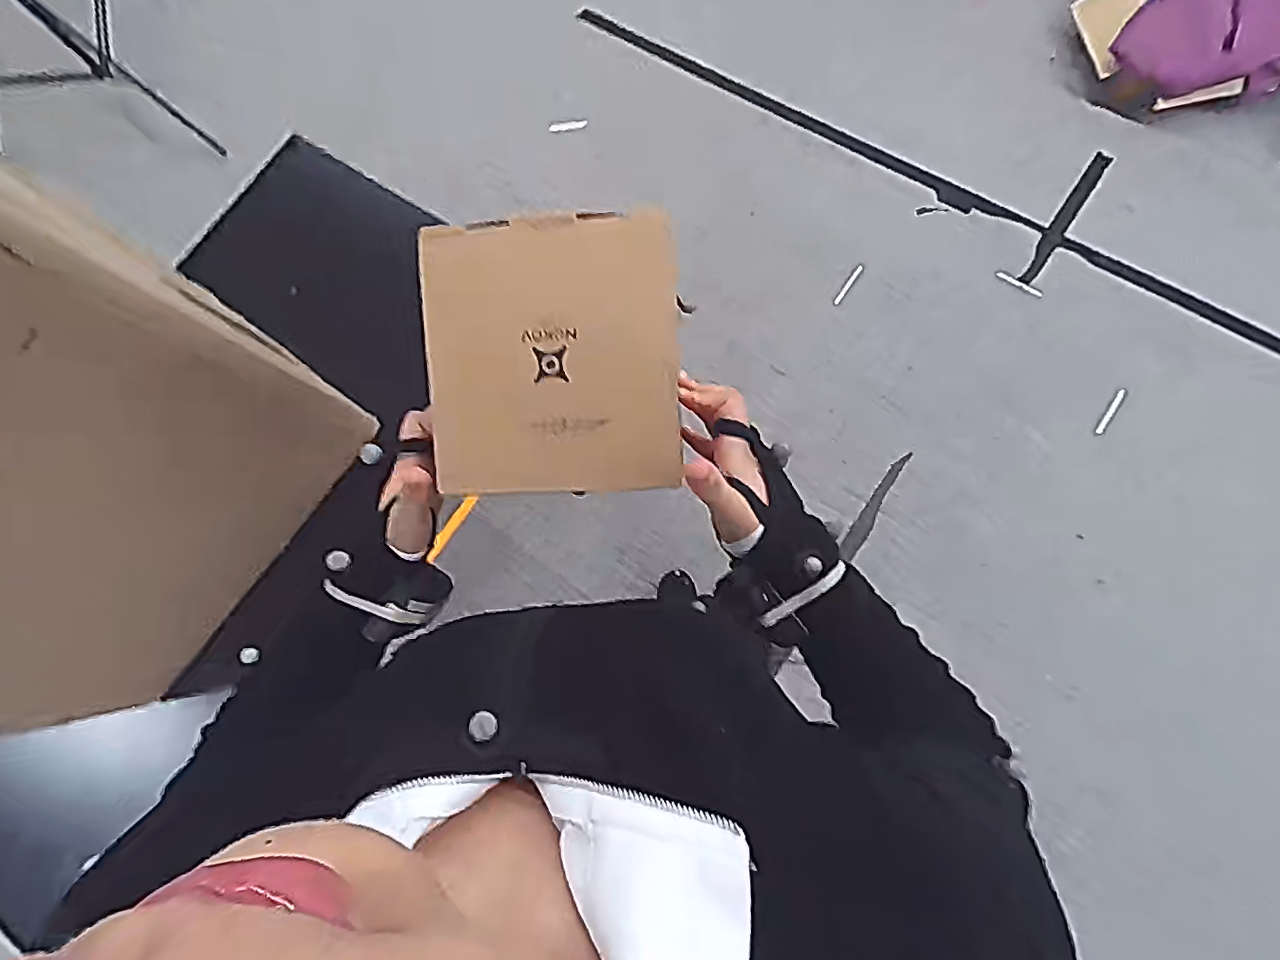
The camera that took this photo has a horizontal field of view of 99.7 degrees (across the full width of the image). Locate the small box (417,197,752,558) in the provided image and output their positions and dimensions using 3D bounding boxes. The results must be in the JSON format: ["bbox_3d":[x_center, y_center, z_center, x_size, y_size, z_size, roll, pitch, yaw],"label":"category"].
[{"bbox_3d":[-0.021,-0.055,0.348,0.168,0.176,0.179,-2,97,6],"label":"small box"}]
